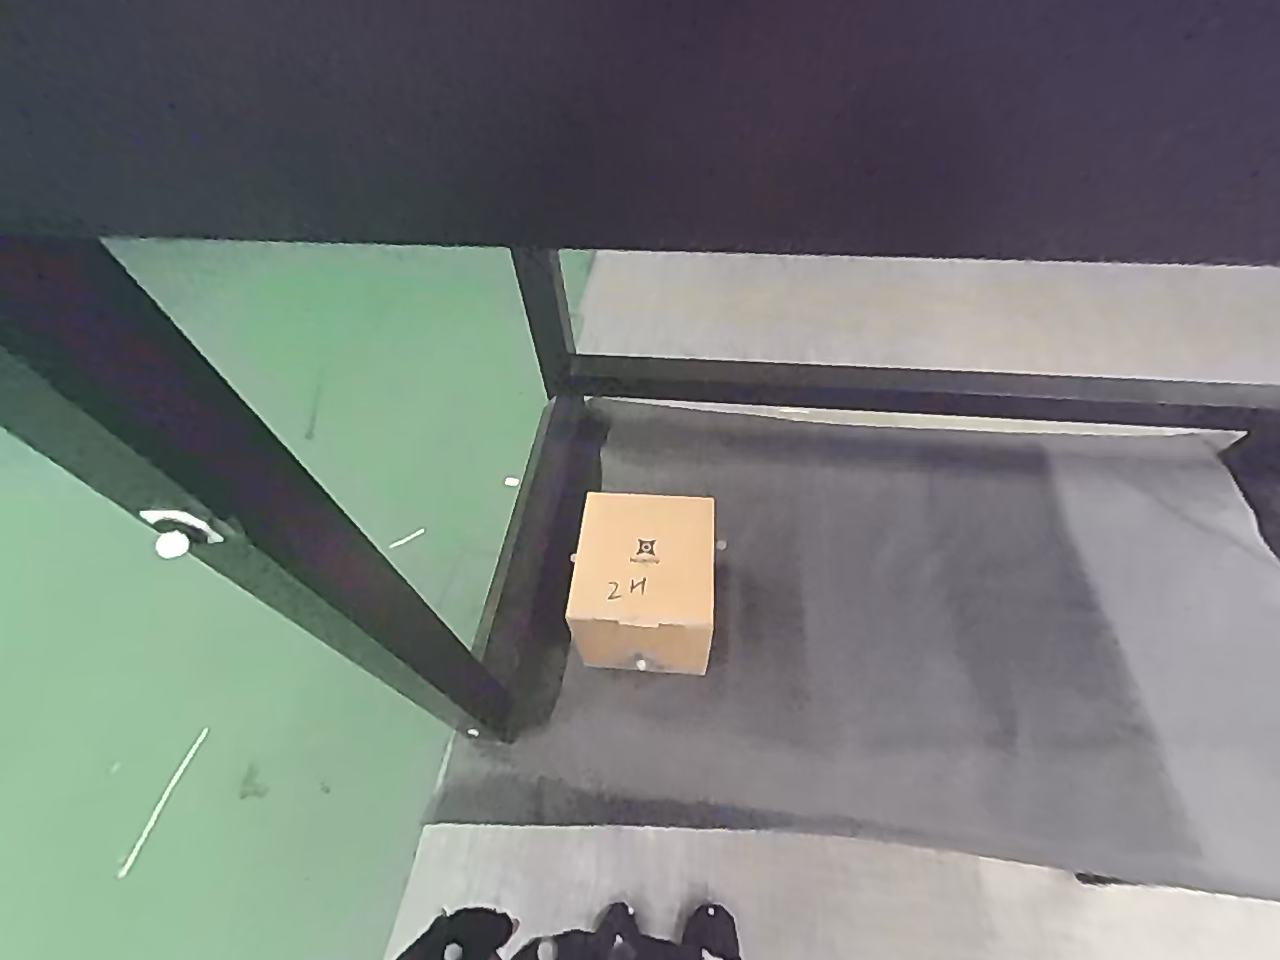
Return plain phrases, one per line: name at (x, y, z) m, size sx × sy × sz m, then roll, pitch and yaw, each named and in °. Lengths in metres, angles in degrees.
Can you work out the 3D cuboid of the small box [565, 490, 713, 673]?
small box at (0.007, 0.134, 0.707) m, size 0.168 × 0.176 × 0.179 m, roll 2°, pitch 53°, yaw 5°
